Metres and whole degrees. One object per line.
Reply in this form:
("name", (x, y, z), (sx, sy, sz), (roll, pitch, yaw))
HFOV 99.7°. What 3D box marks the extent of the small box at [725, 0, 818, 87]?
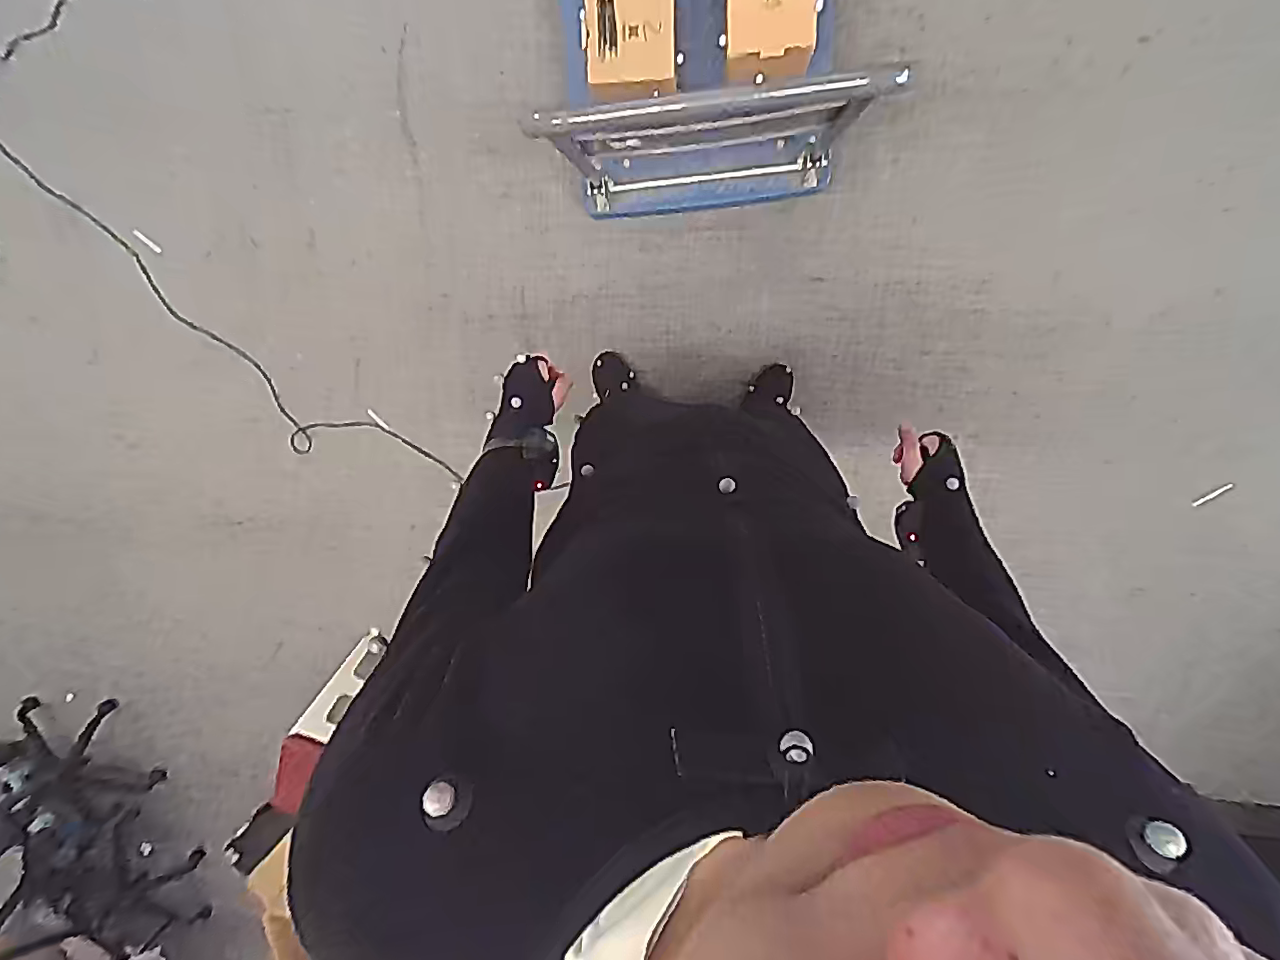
("small box", (0.256, -0.924, 1.077), (0.168, 0.176, 0.179), (-2, 108, 7))
